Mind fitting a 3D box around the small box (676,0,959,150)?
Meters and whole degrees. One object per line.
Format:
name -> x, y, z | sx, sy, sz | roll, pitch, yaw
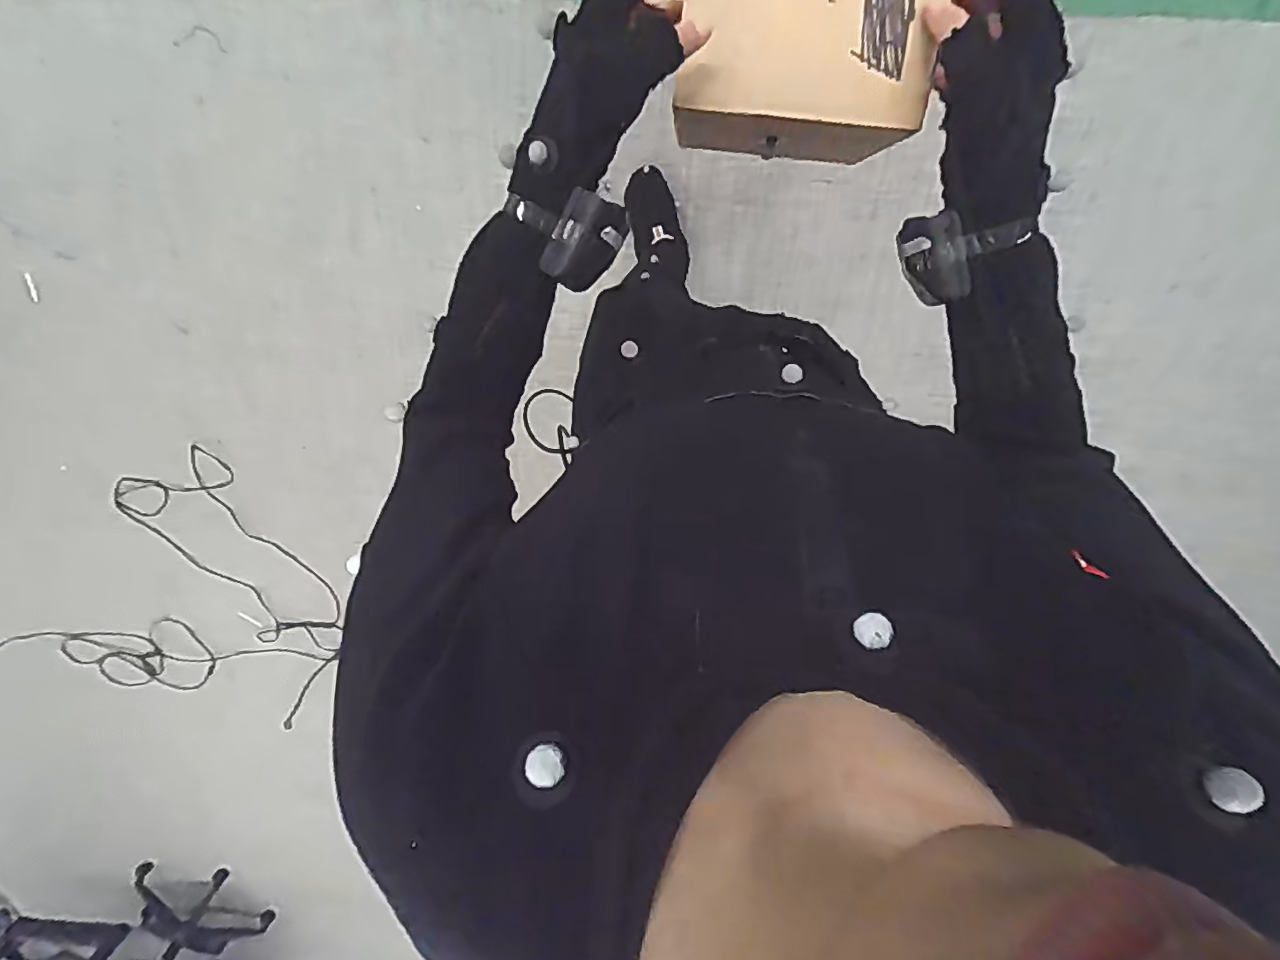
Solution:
small box -> 0.127, -0.363, 0.412 | 0.179, 0.176, 0.168 | 8, 114, 3
